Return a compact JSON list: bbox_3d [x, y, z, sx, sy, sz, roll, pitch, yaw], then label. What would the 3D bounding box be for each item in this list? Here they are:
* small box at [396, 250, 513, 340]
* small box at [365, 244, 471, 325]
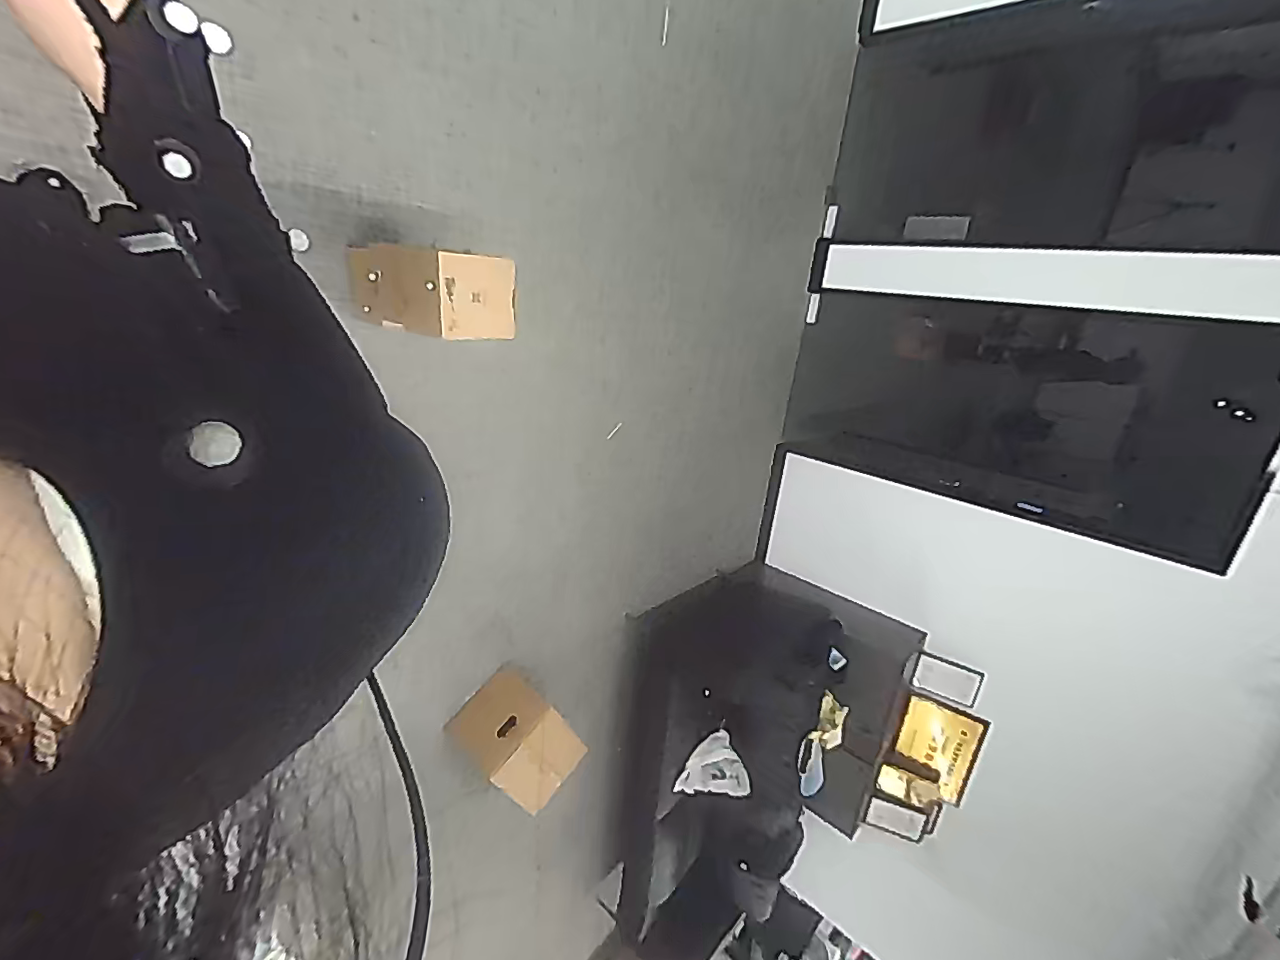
[{"bbox_3d":[-0.394,-0.395,1.156,0.179,0.176,0.168,-17,119,-47],"label":"small box"},{"bbox_3d":[-0.511,-0.451,1.257,0.179,0.176,0.168,-15,118,-45],"label":"small box"}]
